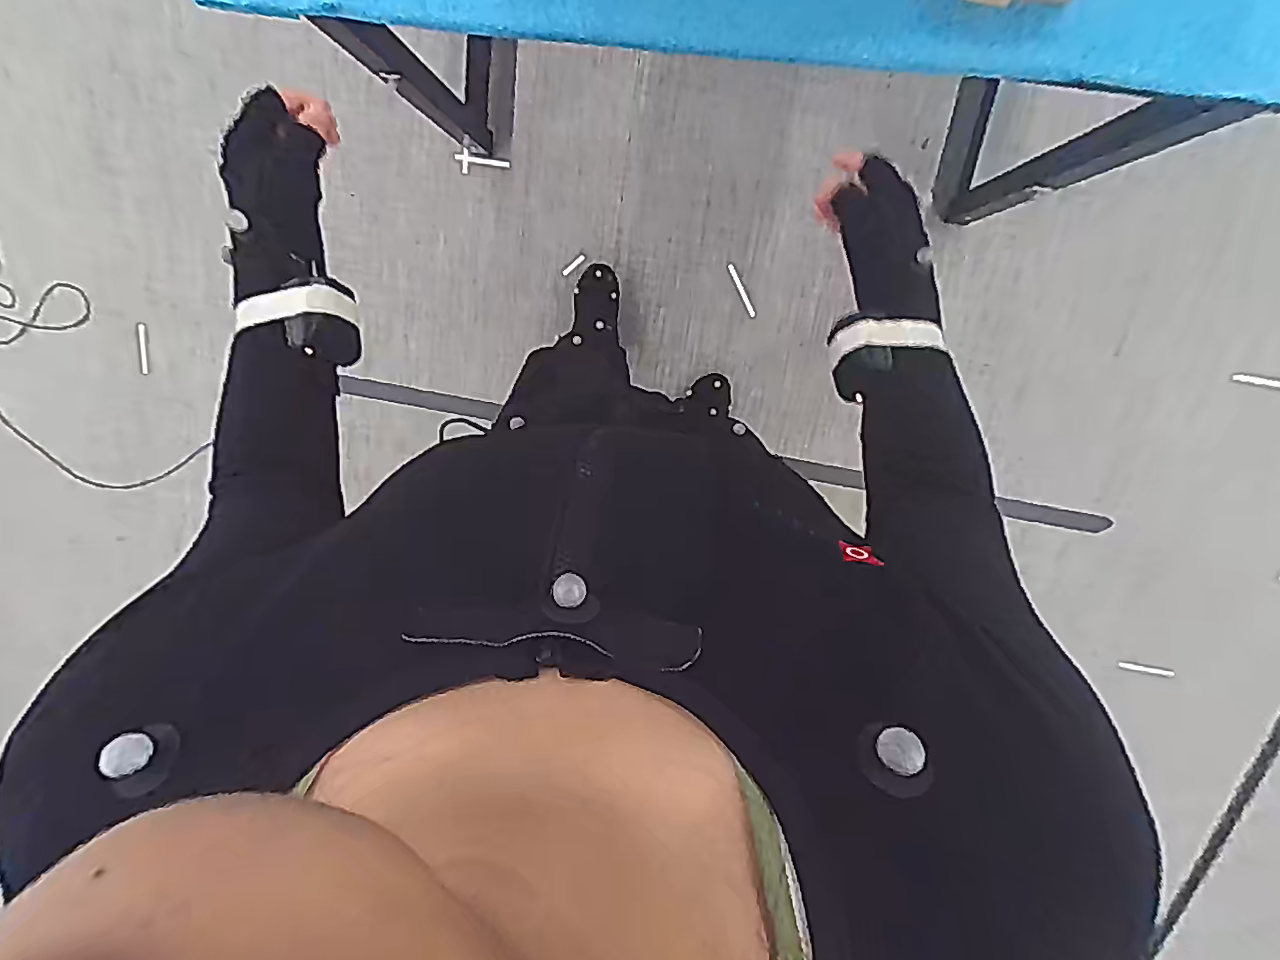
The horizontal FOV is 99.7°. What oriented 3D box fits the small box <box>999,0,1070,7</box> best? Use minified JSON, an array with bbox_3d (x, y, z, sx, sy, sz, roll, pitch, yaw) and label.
[{"bbox_3d":[0.361,-0.561,0.462,0.168,0.176,0.179,9,106,2],"label":"small box"}]
